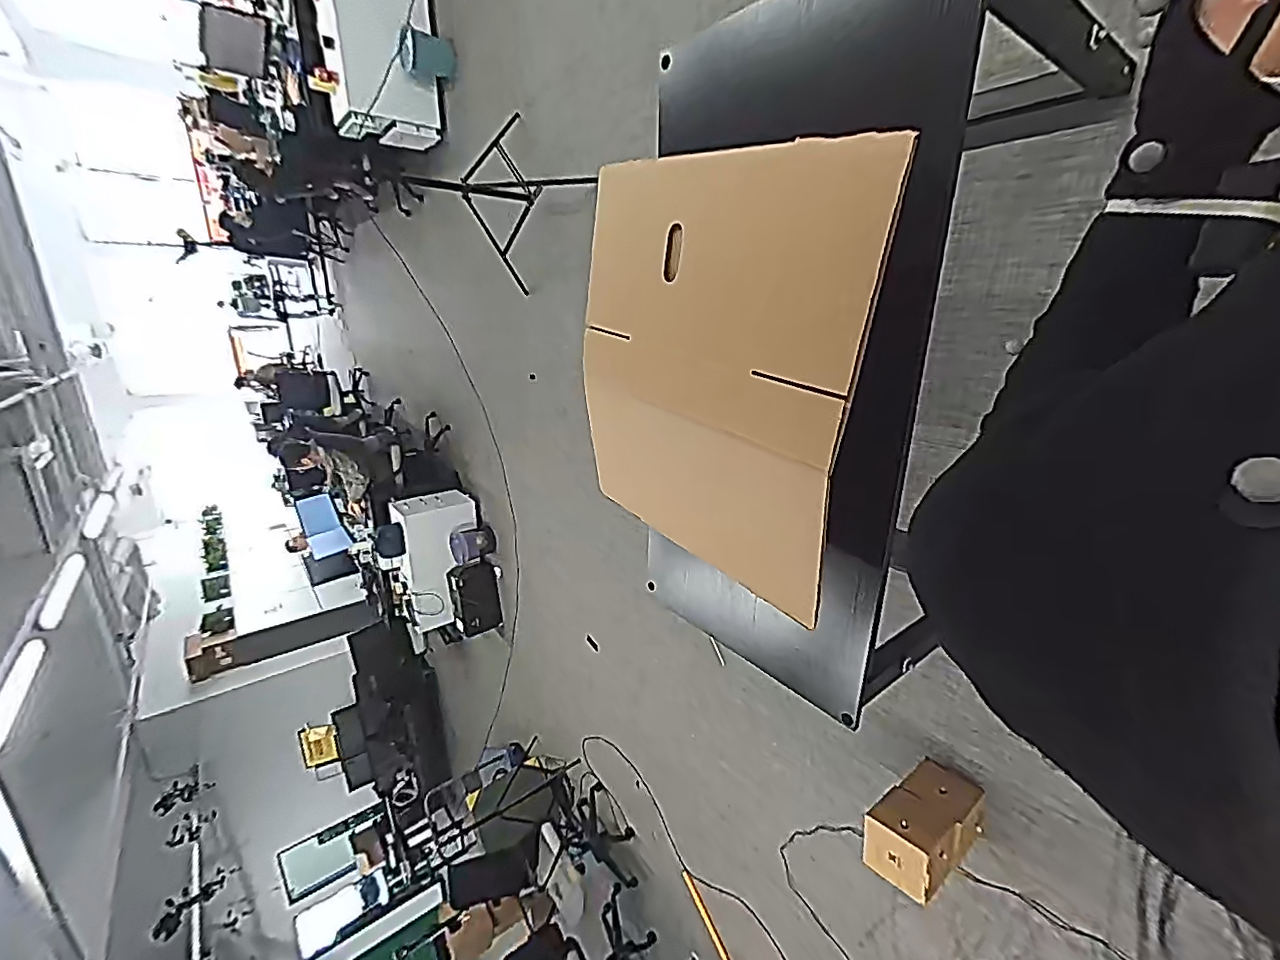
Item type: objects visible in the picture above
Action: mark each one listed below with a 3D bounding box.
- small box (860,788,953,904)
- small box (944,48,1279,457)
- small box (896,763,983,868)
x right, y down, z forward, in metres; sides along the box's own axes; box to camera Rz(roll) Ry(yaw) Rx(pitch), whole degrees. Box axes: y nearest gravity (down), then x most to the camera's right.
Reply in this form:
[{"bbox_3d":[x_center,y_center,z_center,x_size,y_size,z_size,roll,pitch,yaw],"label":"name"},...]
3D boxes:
[{"bbox_3d":[0.739,1.000,1.499,0.179,0.176,0.168,14,110,52],"label":"small box"},{"bbox_3d":[0.366,-0.134,0.391,0.168,0.179,0.176,-30,73,8],"label":"small box"},{"bbox_3d":[0.871,0.971,1.589,0.179,0.176,0.168,18,114,49],"label":"small box"}]
